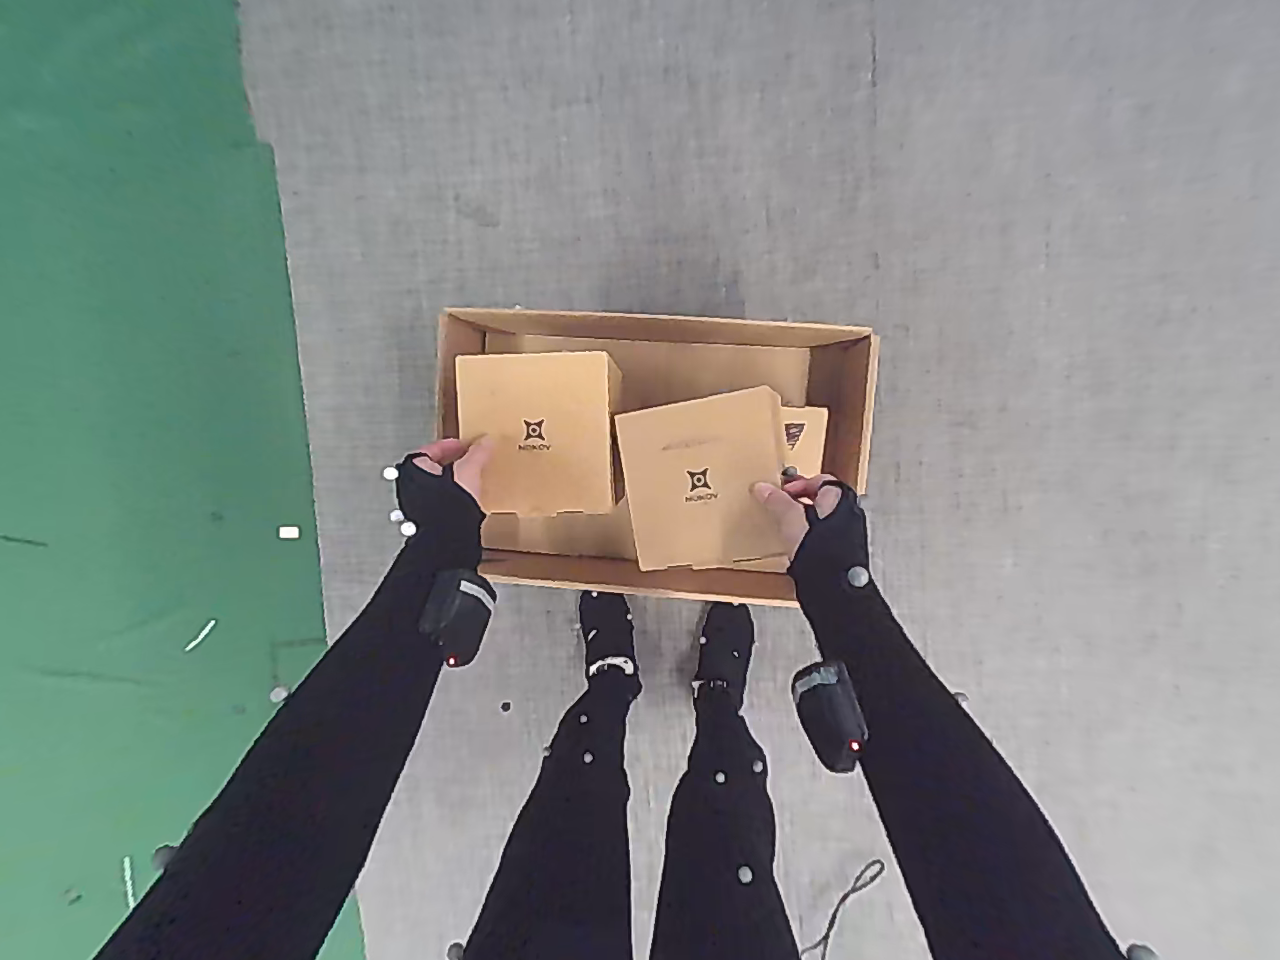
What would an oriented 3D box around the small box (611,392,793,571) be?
[{"bbox_3d":[0.083,-0.001,0.640,0.168,0.176,0.179,-8,92,20],"label":"small box"}]
